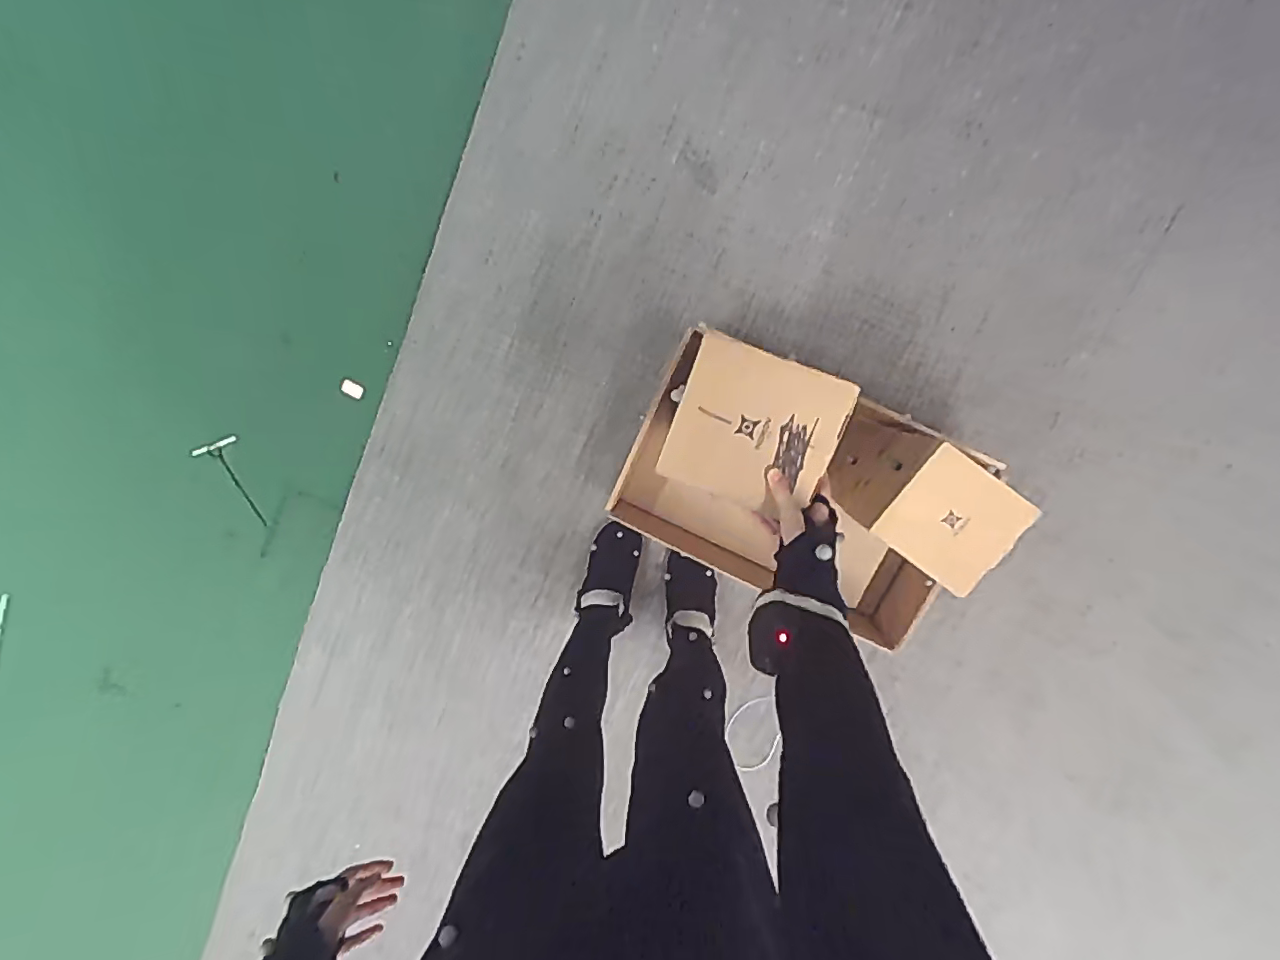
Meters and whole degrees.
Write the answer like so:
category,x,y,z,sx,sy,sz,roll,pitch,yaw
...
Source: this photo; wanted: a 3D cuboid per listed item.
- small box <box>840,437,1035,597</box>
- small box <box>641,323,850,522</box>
category,x,y,z,sx,sy,sz,roll,pitch,yaw
small box,0.446,0.046,0.848,0.179,0.176,0.168,37,102,-1
small box,0.128,-0.074,0.666,0.179,0.176,0.168,28,104,8
